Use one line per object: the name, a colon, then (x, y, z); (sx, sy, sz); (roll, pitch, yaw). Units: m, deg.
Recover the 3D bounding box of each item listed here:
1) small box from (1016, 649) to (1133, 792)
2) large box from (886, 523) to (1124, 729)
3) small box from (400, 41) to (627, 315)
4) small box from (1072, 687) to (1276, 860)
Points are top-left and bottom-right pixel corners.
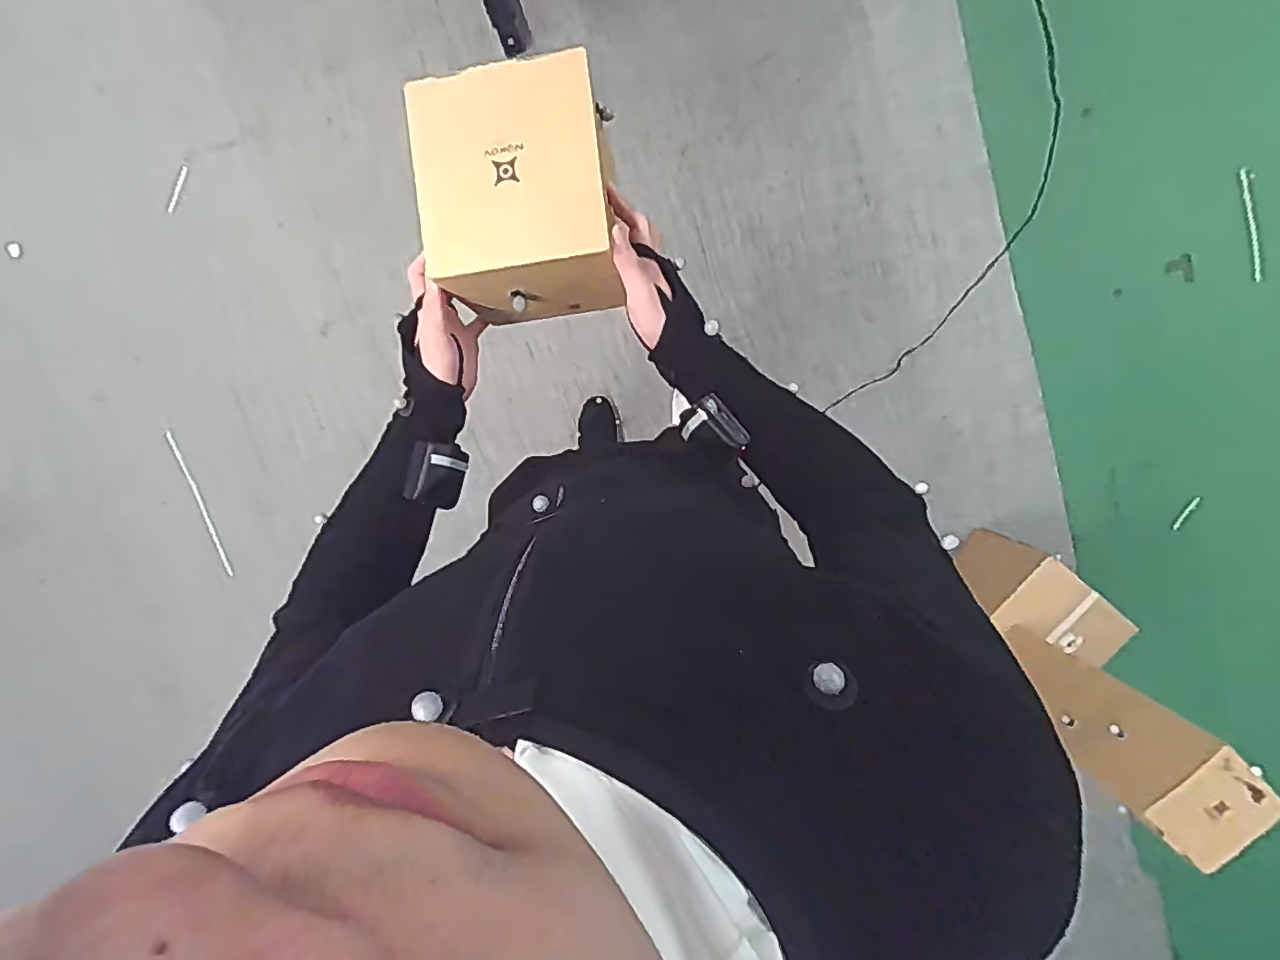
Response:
small box: (0.943, 0.497, 1.138); (0.168, 0.176, 0.179); (43, 96, -6)
large box: (1.002, 0.393, 1.538); (0.320, 0.320, 0.408); (39, 96, -6)
small box: (-0.111, -0.276, 0.543); (0.168, 0.176, 0.179); (-7, 90, 6)
small box: (0.938, 0.518, 0.976); (0.168, 0.176, 0.179); (44, 97, -5)
